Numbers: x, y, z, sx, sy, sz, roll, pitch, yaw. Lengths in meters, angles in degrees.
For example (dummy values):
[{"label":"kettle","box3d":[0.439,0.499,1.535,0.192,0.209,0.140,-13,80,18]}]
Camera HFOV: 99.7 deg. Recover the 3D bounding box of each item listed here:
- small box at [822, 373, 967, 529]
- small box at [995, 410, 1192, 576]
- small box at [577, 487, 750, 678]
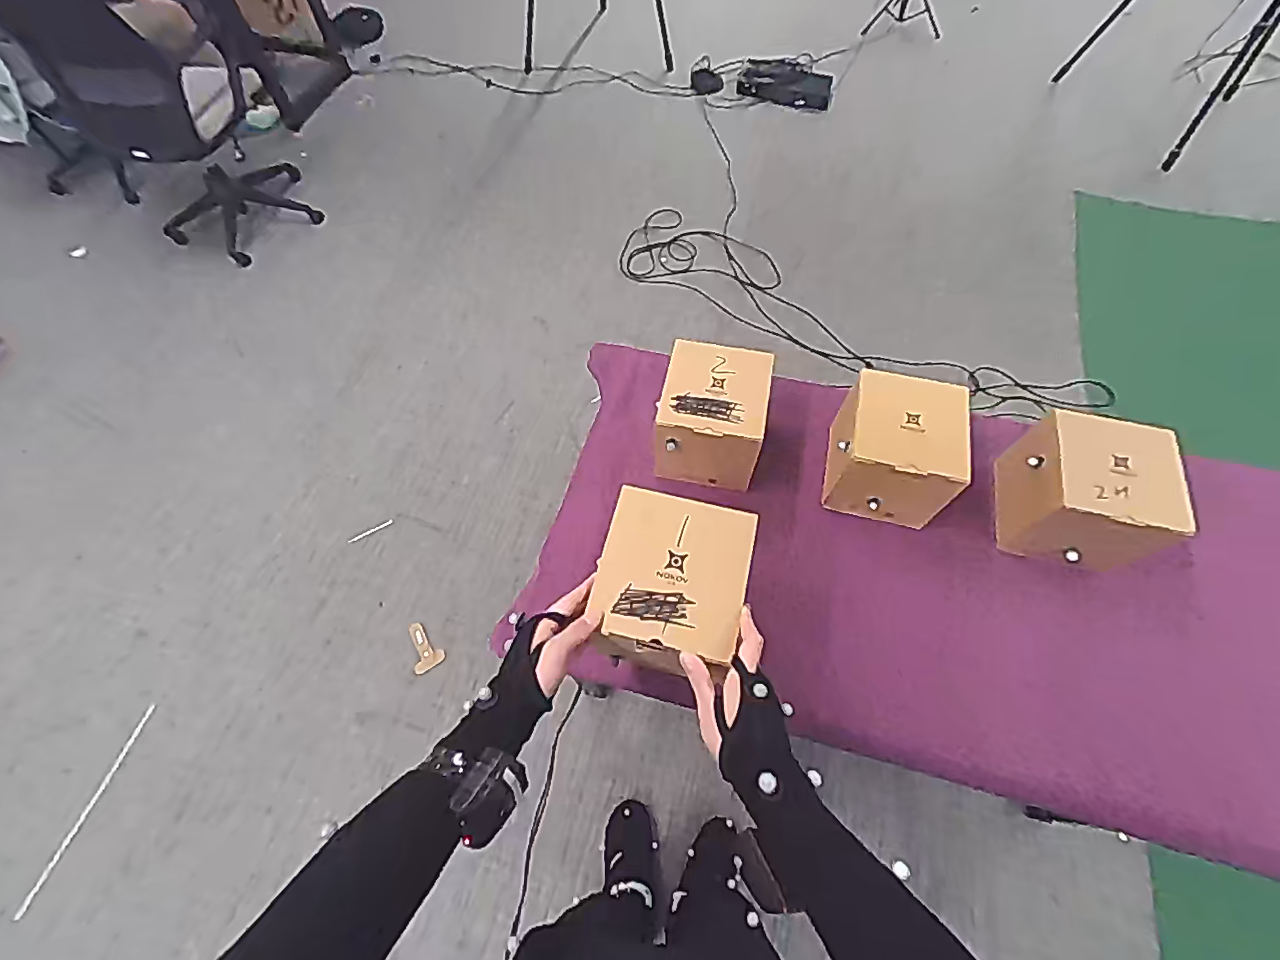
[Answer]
[{"label":"small box","box3d":[0.406,-0.043,0.882,0.168,0.176,0.179,12,64,8]},{"label":"small box","box3d":[0.675,0.024,0.832,0.168,0.176,0.179,13,63,10]},{"label":"small box","box3d":[0.033,0.136,0.677,0.168,0.176,0.179,12,64,7]}]
